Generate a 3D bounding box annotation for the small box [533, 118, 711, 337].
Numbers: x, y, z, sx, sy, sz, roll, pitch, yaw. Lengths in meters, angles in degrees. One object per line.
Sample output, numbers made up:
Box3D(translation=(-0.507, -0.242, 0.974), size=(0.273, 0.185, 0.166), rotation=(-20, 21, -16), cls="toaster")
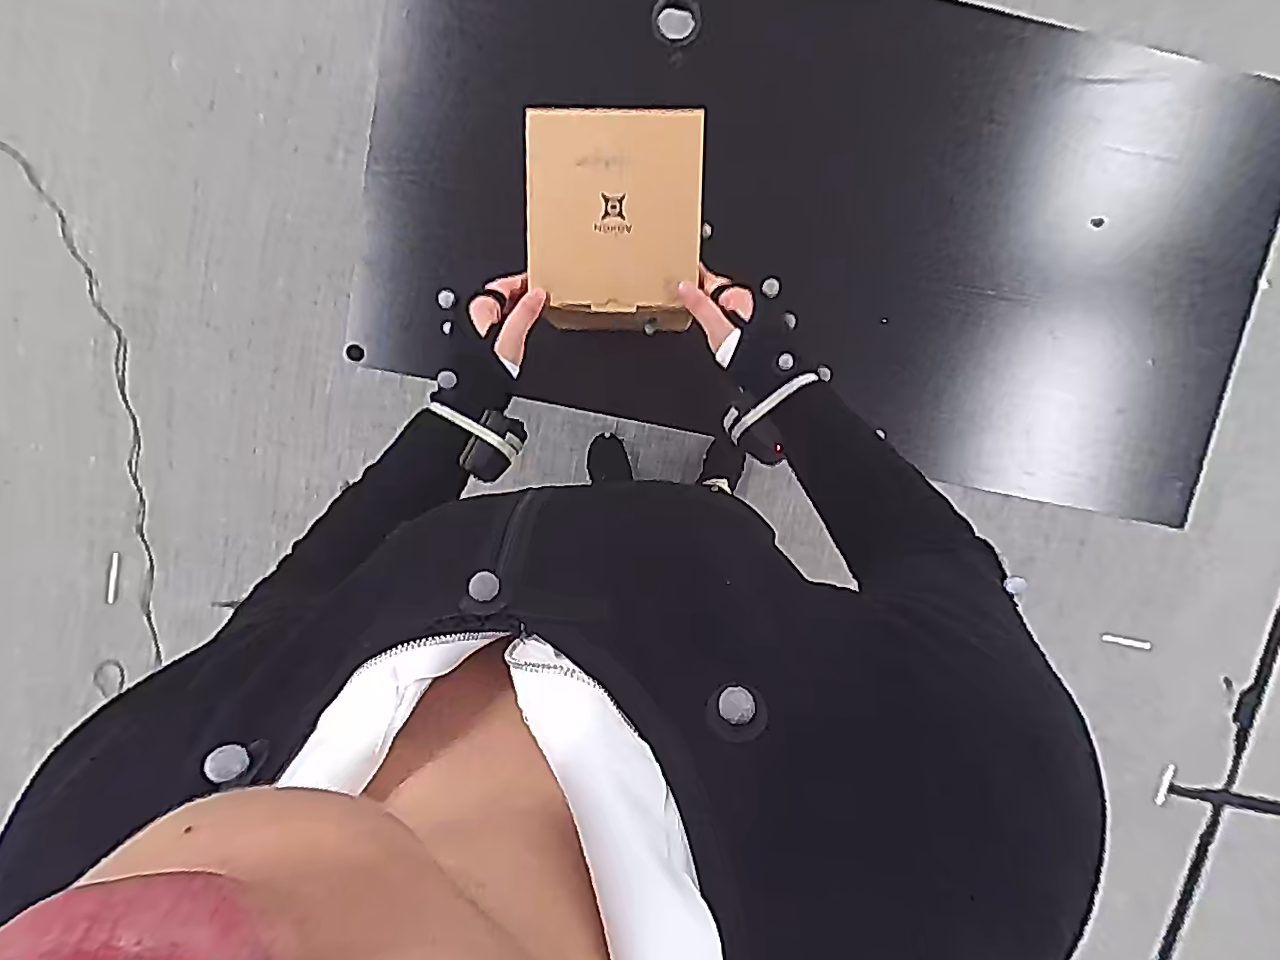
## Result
Box3D(translation=(-0.017, -0.253, 0.583), size=(0.168, 0.176, 0.179), rotation=(1, 97, 0), cls="small box")
